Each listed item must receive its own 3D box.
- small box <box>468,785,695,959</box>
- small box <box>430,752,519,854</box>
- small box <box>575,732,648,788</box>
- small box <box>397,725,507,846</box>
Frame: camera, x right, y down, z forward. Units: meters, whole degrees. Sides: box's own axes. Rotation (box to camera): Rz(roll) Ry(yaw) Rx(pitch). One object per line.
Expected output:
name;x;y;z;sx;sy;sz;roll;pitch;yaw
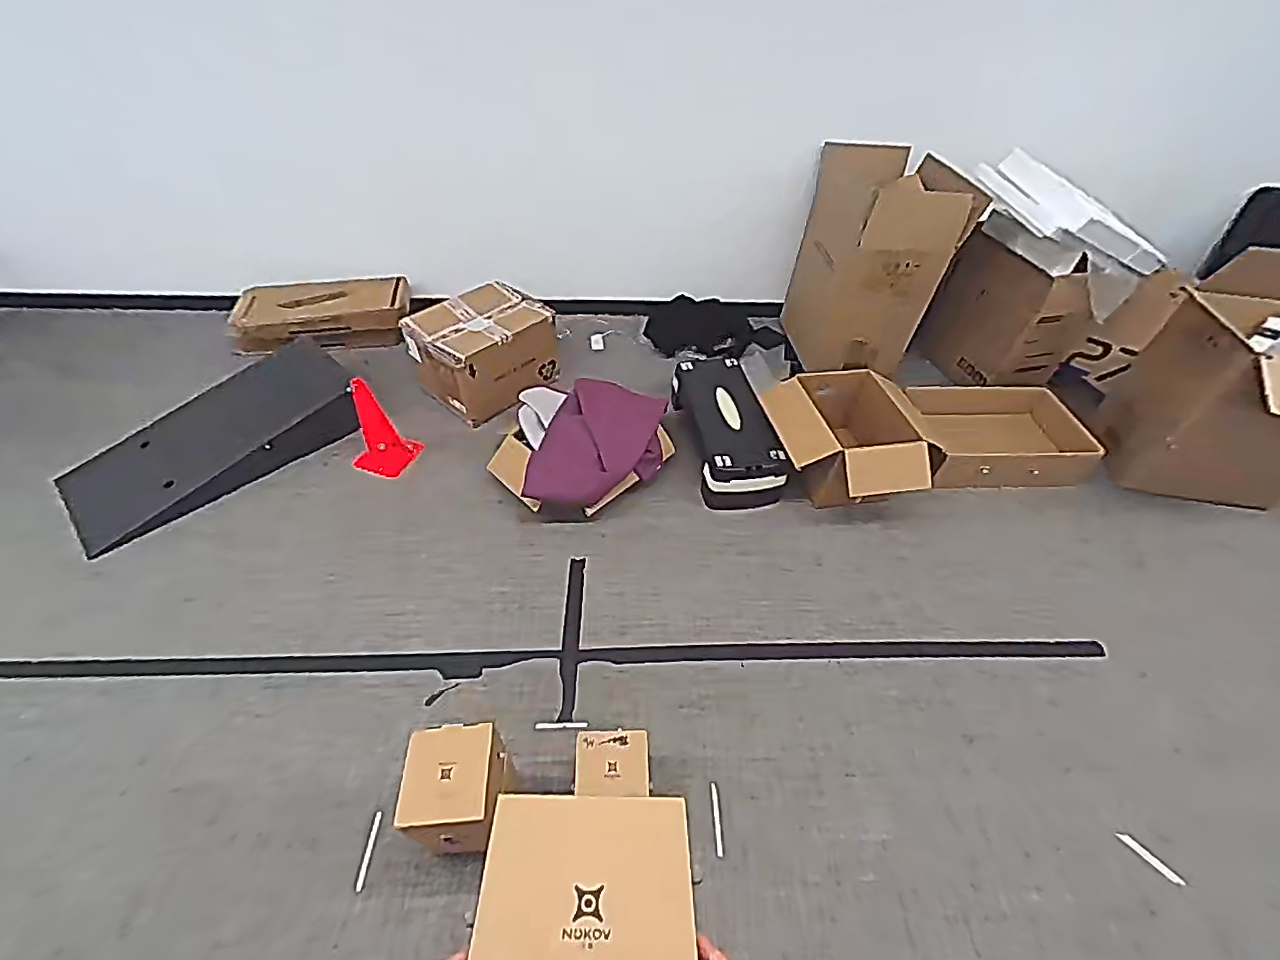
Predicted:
small box;-0.047;0.390;0.459;0.168;0.176;0.179;2;35;-3
small box;-0.381;0.734;1.226;0.179;0.176;0.168;-1;47;-4
small box;-0.064;0.708;1.265;0.168;0.176;0.179;0;47;-2
small box;-0.373;0.625;1.106;0.168;0.176;0.179;-4;48;-4
